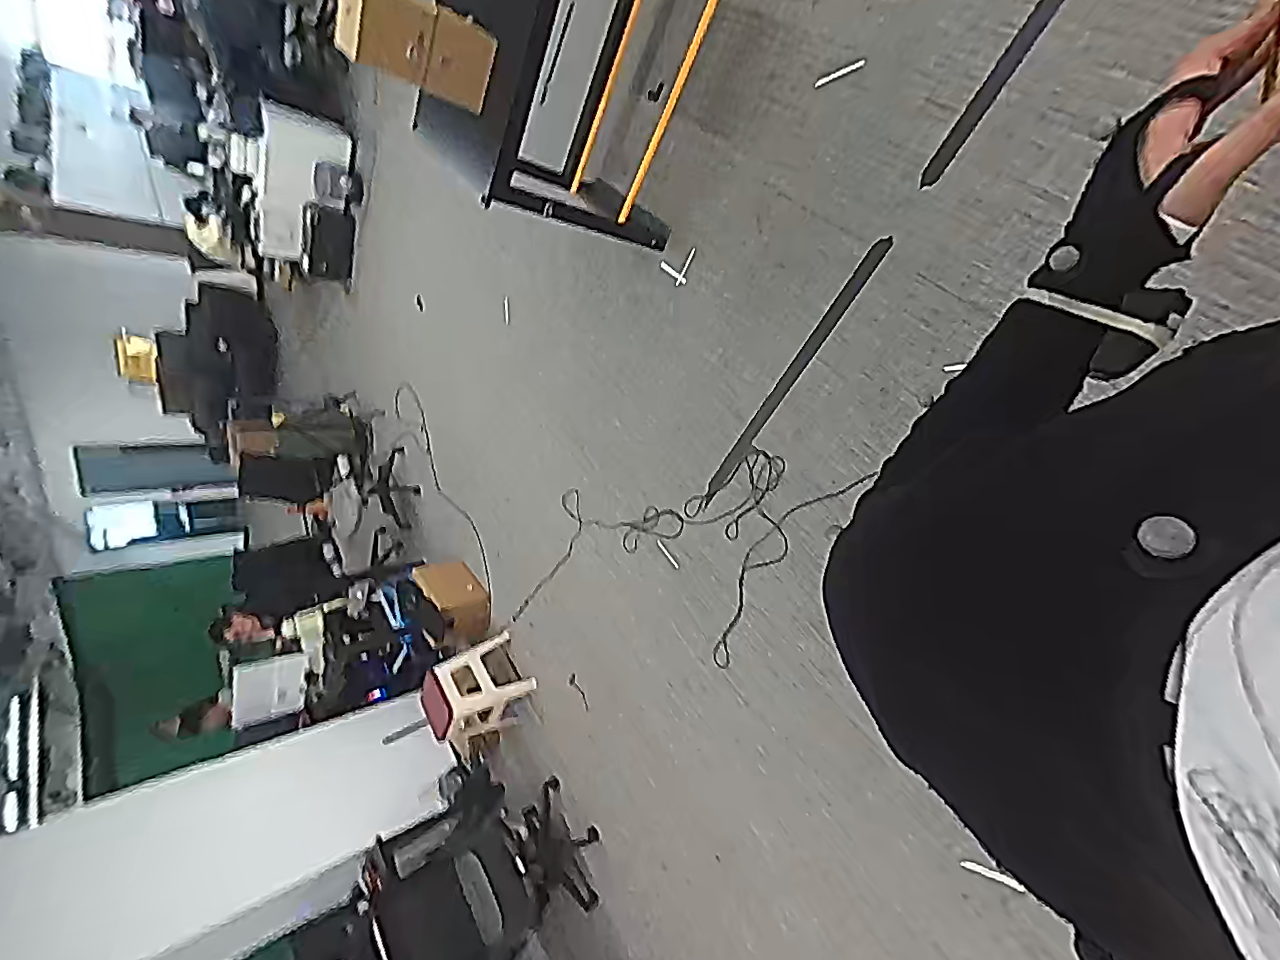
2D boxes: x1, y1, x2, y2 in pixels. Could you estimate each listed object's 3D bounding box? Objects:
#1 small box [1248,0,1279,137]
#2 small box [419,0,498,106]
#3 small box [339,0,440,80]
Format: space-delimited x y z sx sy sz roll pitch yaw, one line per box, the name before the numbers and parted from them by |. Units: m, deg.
small box | 0.446 -0.310 0.276 0.168 0.176 0.179 6 109 45
small box | -0.500 -1.144 1.442 0.168 0.176 0.179 52 127 29
small box | -0.618 -1.128 1.331 0.179 0.176 0.168 50 129 29
